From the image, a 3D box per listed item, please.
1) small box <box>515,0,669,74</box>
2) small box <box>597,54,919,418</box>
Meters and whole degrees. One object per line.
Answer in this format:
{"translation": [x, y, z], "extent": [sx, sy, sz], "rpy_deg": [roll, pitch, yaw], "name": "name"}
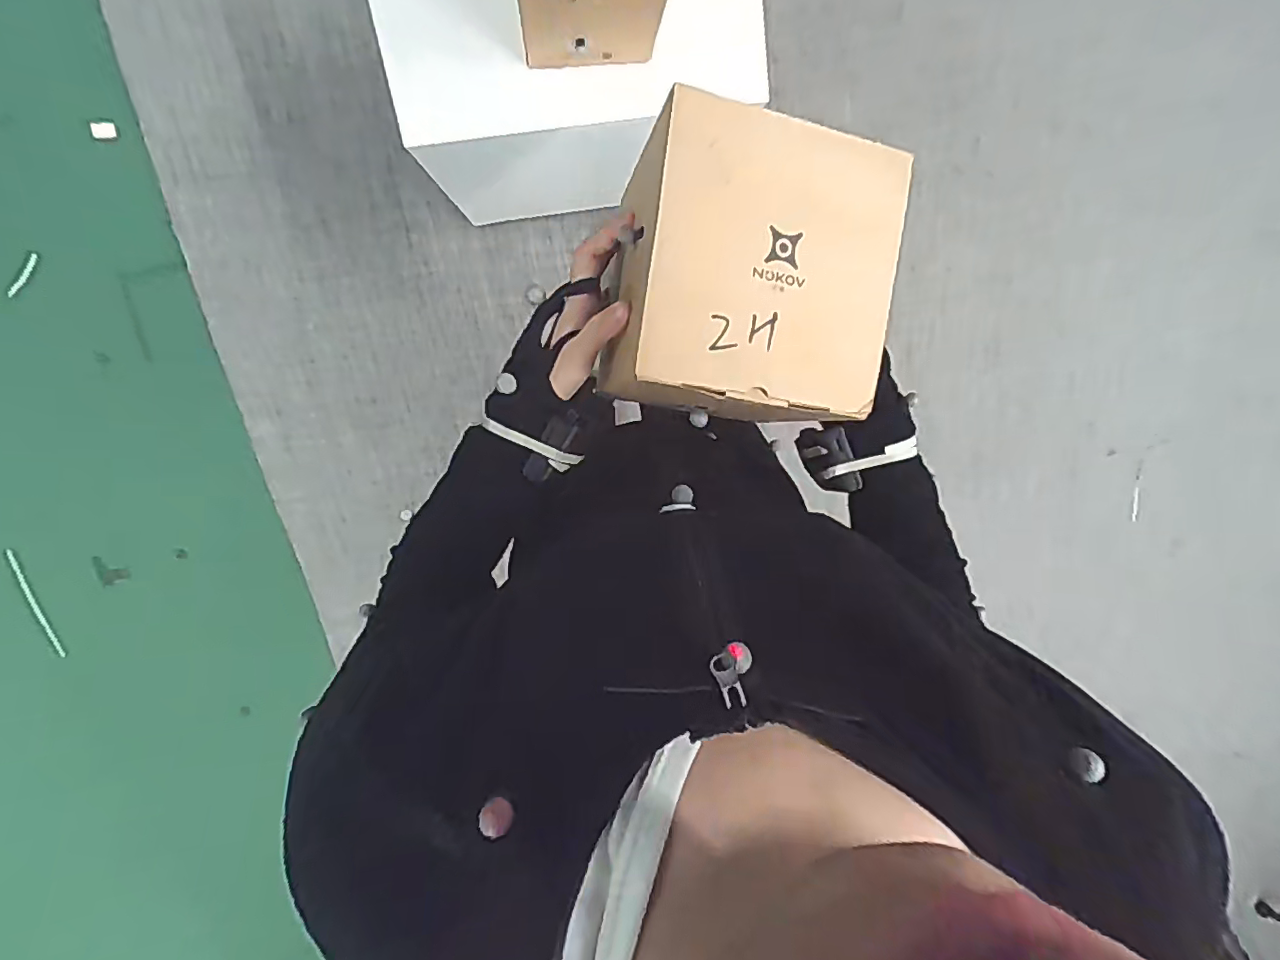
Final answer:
{"translation": [-0.065, -0.605, 0.616], "extent": [0.168, 0.176, 0.179], "rpy_deg": [-8, 104, -5], "name": "small box"}
{"translation": [0.067, -0.147, 0.399], "extent": [0.168, 0.176, 0.179], "rpy_deg": [8, 92, -13], "name": "small box"}
